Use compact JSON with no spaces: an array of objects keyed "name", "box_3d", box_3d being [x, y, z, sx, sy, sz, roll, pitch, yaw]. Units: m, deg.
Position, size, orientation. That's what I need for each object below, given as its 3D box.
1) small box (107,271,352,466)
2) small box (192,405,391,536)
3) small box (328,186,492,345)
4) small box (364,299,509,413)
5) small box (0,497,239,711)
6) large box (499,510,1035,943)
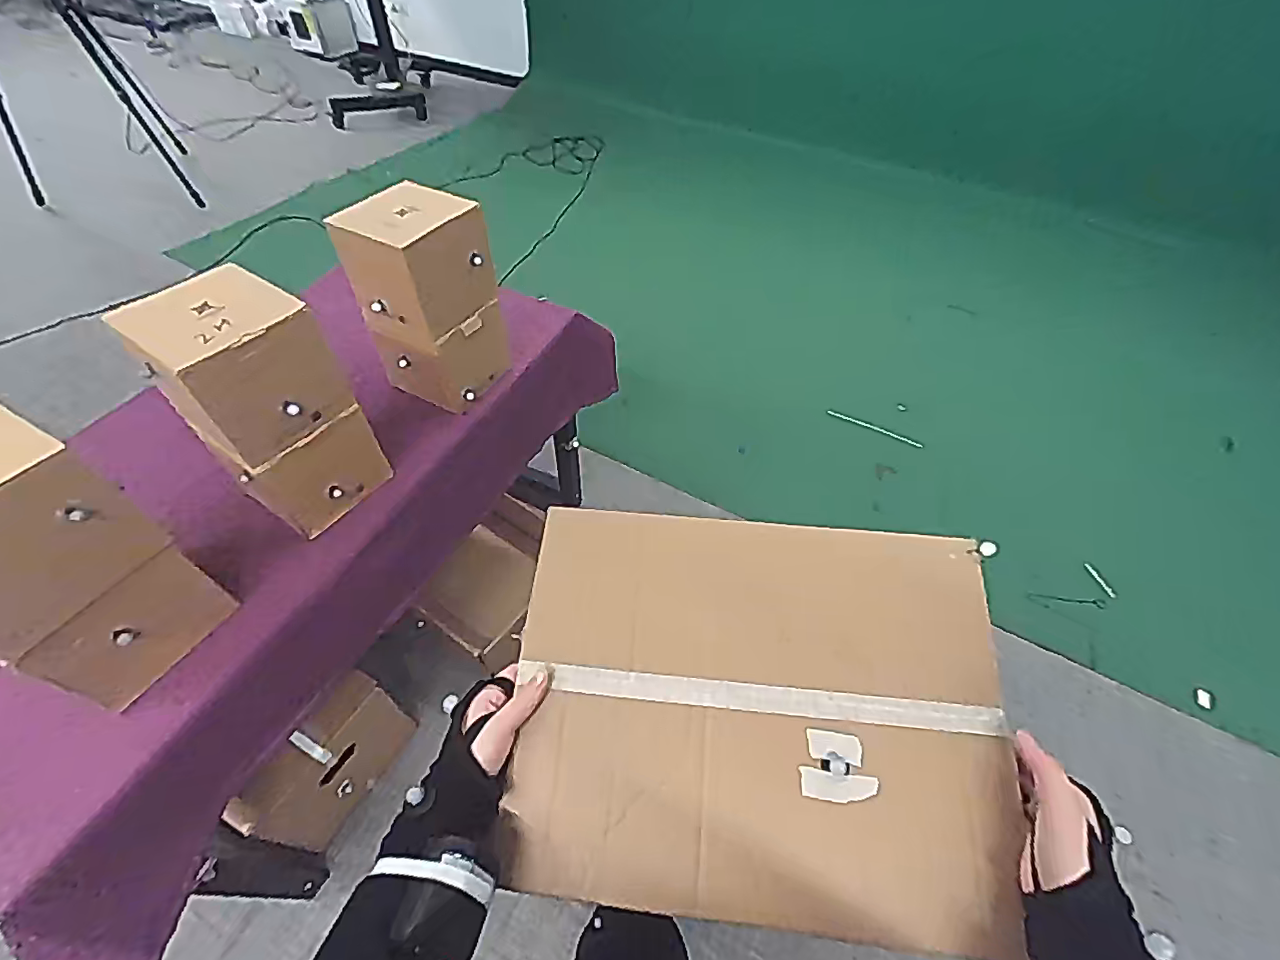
[{"name":"small box","box_3d":[-0.537,-0.148,0.732,0.179,0.176,0.168,30,56,19]},{"name":"small box","box_3d":[-0.537,-0.040,0.857,0.179,0.176,0.168,29,55,18]},{"name":"small box","box_3d":[-0.370,-0.360,0.911,0.168,0.176,0.179,25,54,18]},{"name":"small box","box_3d":[-0.375,-0.254,1.035,0.179,0.176,0.168,23,54,17]},{"name":"small box","box_3d":[-0.674,0.161,0.685,0.168,0.176,0.179,24,55,16]},{"name":"large box","box_3d":[0.105,0.242,0.596,0.408,0.320,0.320,4,66,5]}]
